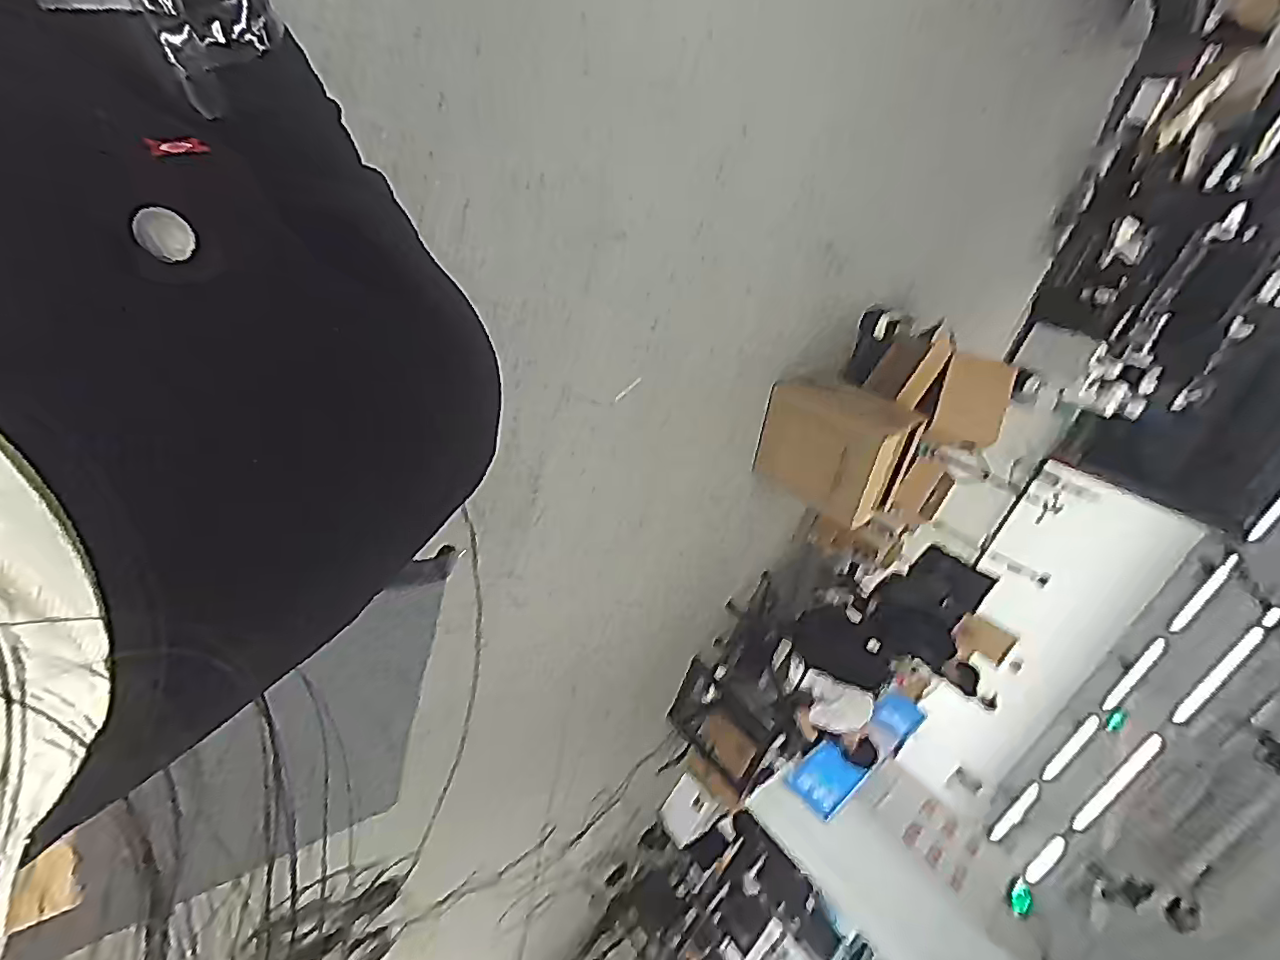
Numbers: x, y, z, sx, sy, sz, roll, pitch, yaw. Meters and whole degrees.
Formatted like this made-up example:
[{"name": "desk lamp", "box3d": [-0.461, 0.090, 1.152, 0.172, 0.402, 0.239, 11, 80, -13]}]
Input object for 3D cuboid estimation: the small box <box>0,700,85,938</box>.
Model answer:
[{"name": "small box", "box3d": [-0.721, 0.374, 0.572, 0.179, 0.176, 0.168, -7, 125, -46]}]
